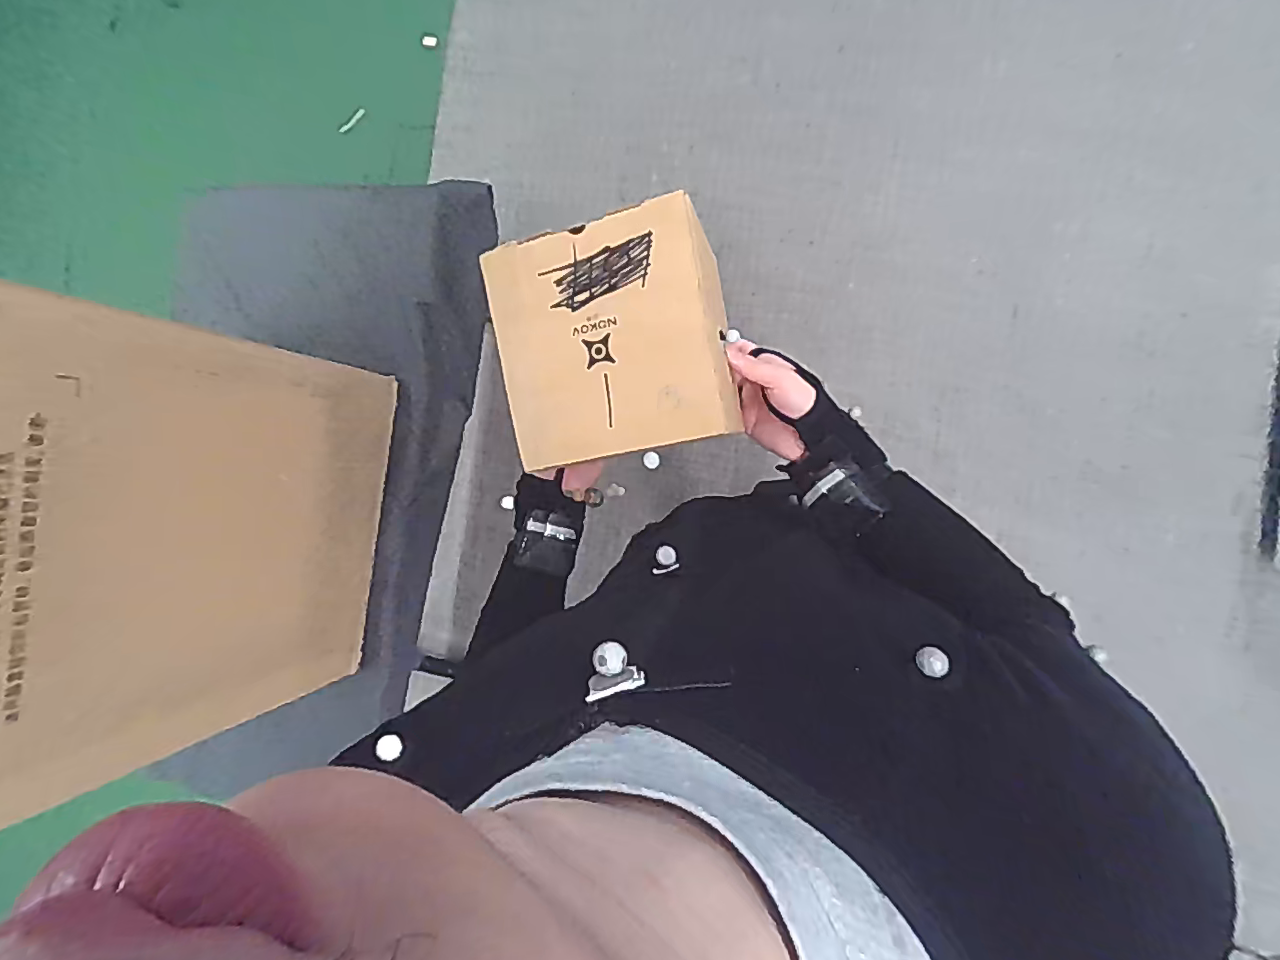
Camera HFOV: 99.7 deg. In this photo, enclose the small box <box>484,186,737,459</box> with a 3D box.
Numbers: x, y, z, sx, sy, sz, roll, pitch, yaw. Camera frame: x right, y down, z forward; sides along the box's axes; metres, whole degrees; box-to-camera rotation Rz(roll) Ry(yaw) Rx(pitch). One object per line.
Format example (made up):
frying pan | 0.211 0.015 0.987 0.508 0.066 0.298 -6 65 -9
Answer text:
small box | -0.011 -0.118 0.479 0.168 0.176 0.179 -8 94 16
